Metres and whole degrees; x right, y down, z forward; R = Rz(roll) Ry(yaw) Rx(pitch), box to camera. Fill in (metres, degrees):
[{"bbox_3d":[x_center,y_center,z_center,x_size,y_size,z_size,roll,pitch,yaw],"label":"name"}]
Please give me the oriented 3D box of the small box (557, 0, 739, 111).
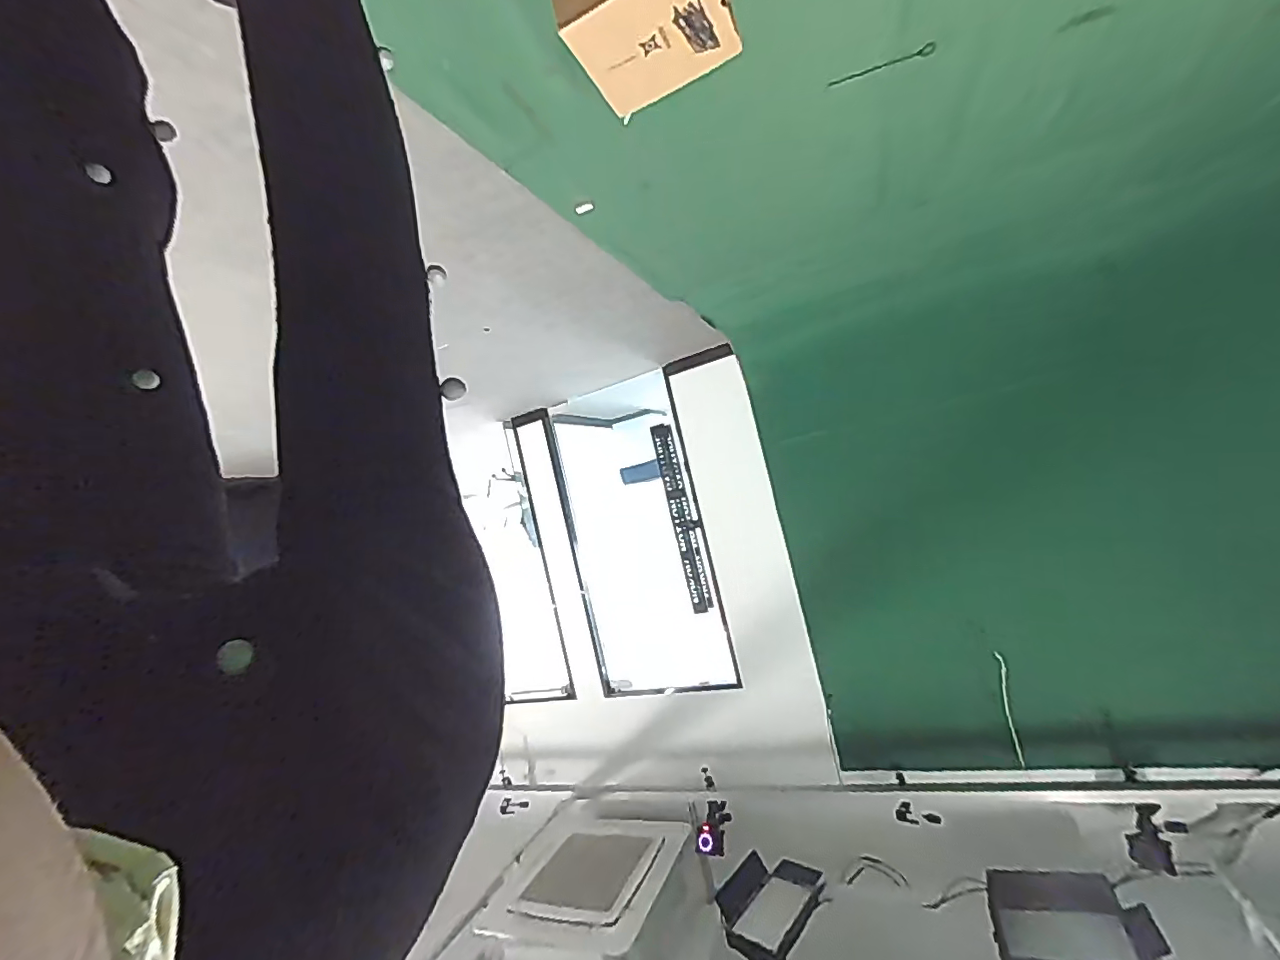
[{"bbox_3d":[-0.003,-0.593,0.628,0.179,0.176,0.168,-15,177,22],"label":"small box"}]
